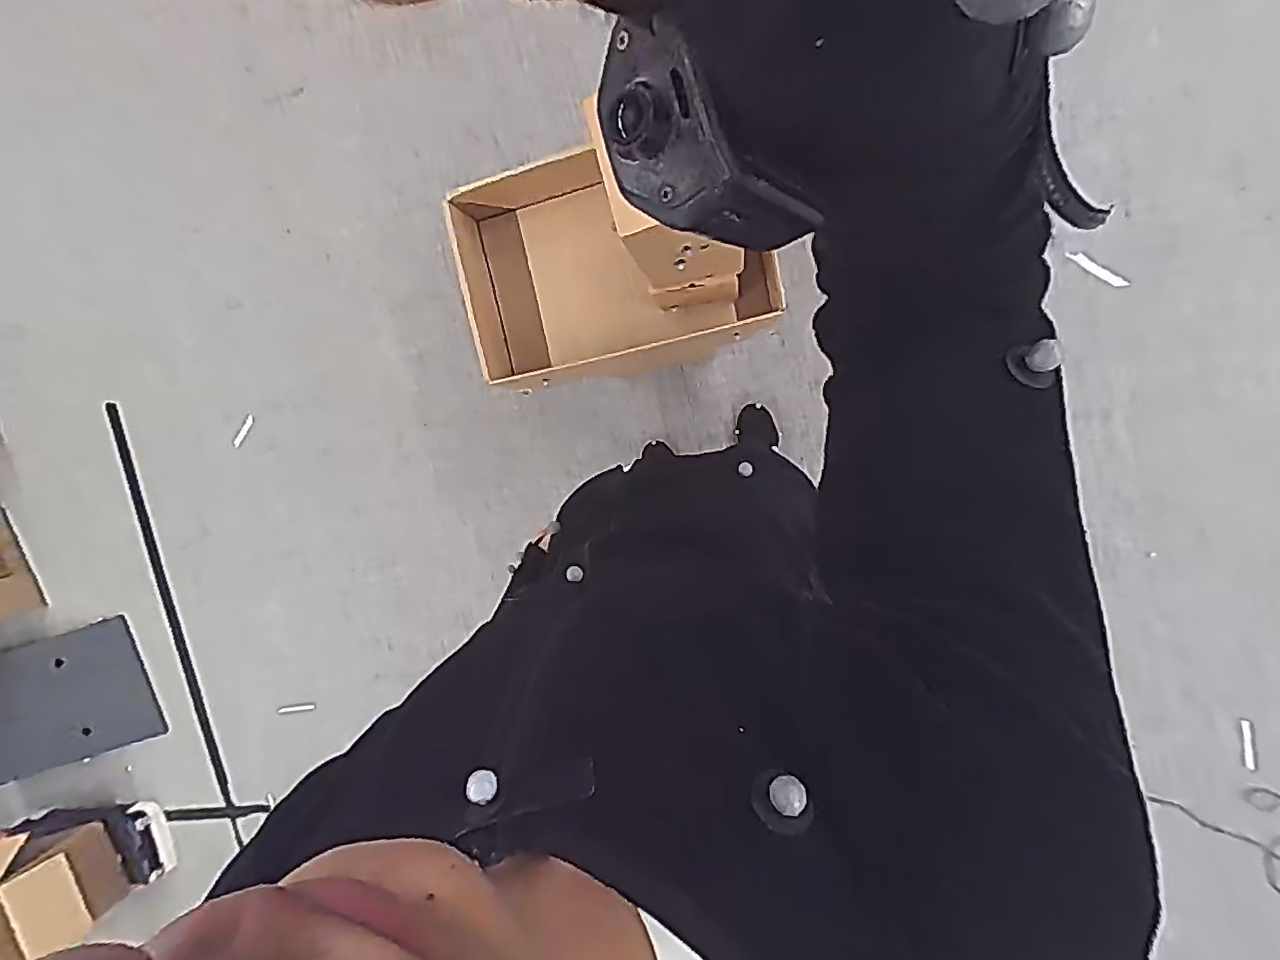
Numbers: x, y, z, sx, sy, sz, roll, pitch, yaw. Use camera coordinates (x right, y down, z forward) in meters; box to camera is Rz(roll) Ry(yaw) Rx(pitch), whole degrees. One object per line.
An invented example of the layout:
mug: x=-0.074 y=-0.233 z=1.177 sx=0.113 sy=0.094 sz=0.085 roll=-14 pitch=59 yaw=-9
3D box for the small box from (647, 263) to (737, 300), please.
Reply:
small box: x=0.102 y=-0.458 z=1.056 sx=0.168 sy=0.176 sz=0.179 roll=-4 pitch=96 yaw=10

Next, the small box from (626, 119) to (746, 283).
small box: x=0.081 y=-0.446 z=0.894 sx=0.168 sy=0.176 sz=0.179 roll=-8 pitch=95 yaw=11
